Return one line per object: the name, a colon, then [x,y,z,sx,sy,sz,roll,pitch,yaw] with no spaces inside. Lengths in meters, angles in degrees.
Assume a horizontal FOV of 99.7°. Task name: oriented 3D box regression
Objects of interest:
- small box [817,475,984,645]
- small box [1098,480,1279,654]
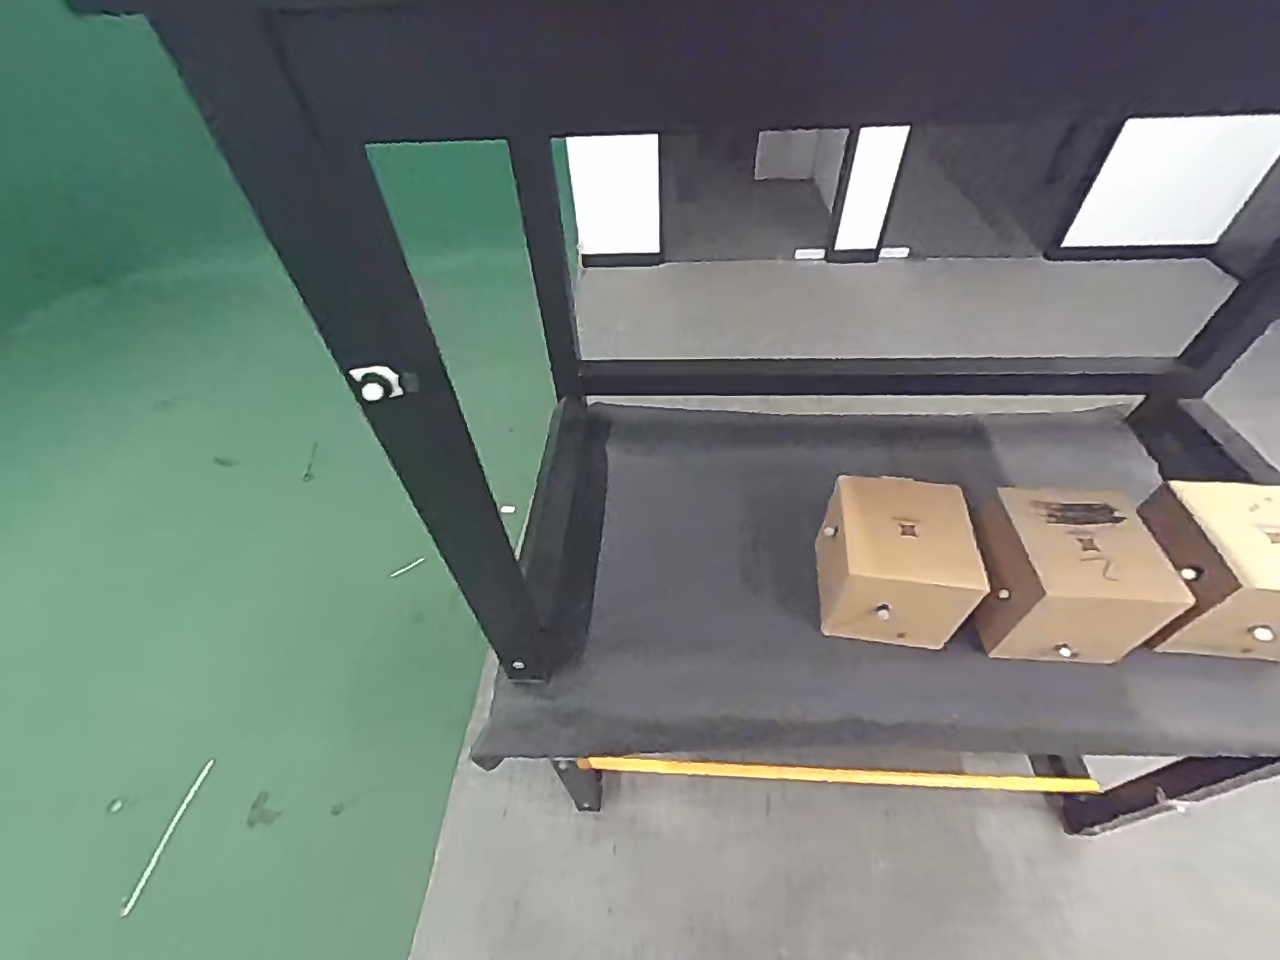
small box: [0.357,0.117,0.780,0.168,0.176,0.179,5,48,8]
small box: [0.797,0.121,0.745,0.168,0.176,0.179,3,47,6]
